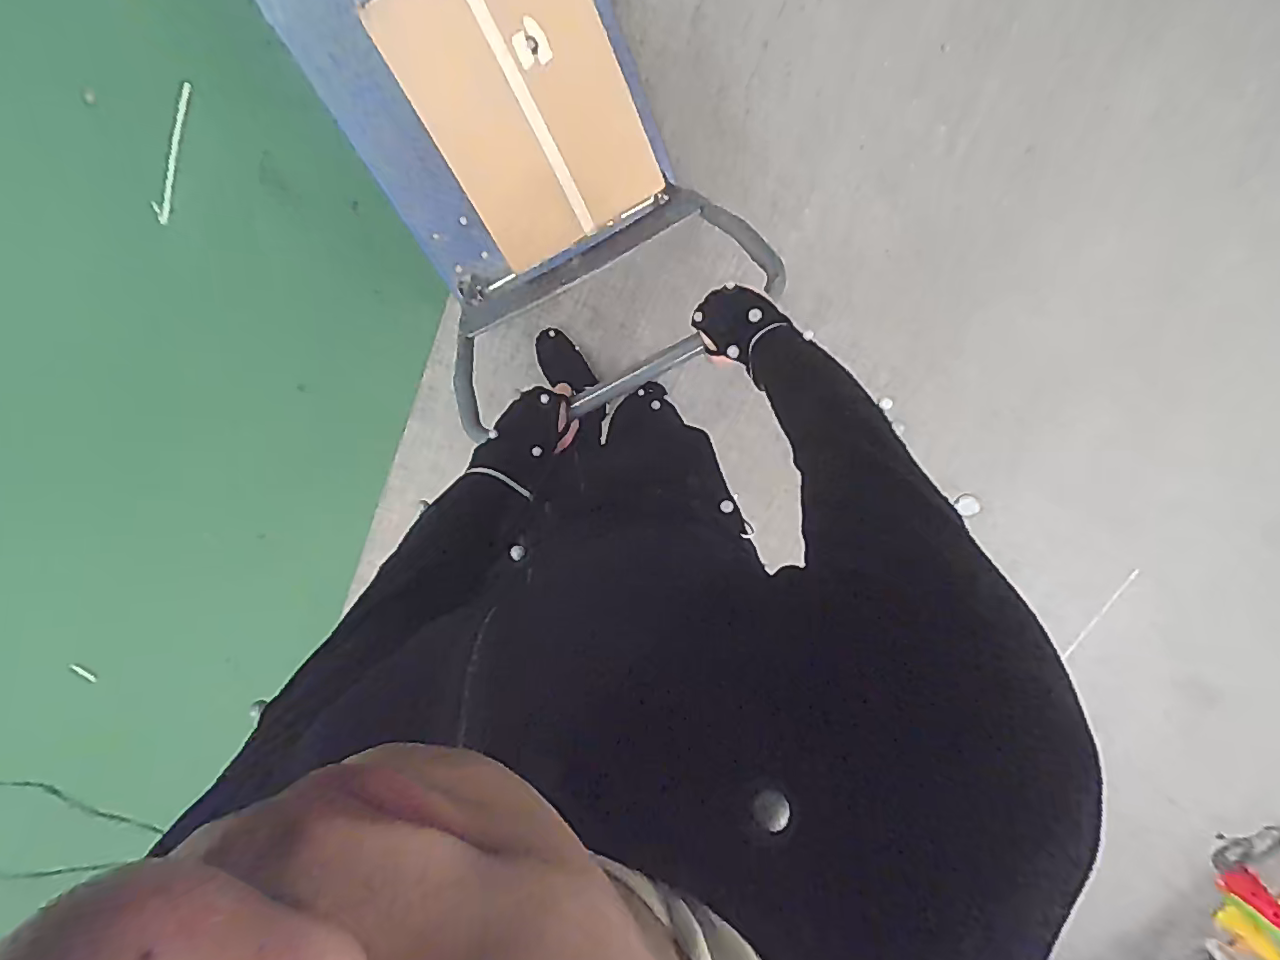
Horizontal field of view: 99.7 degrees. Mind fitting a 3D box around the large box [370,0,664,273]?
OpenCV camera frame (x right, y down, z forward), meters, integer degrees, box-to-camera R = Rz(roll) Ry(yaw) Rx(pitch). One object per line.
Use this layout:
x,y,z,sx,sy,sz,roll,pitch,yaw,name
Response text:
-0.199,-0.669,0.998,0.320,0.320,0.408,-27,124,5,large box
